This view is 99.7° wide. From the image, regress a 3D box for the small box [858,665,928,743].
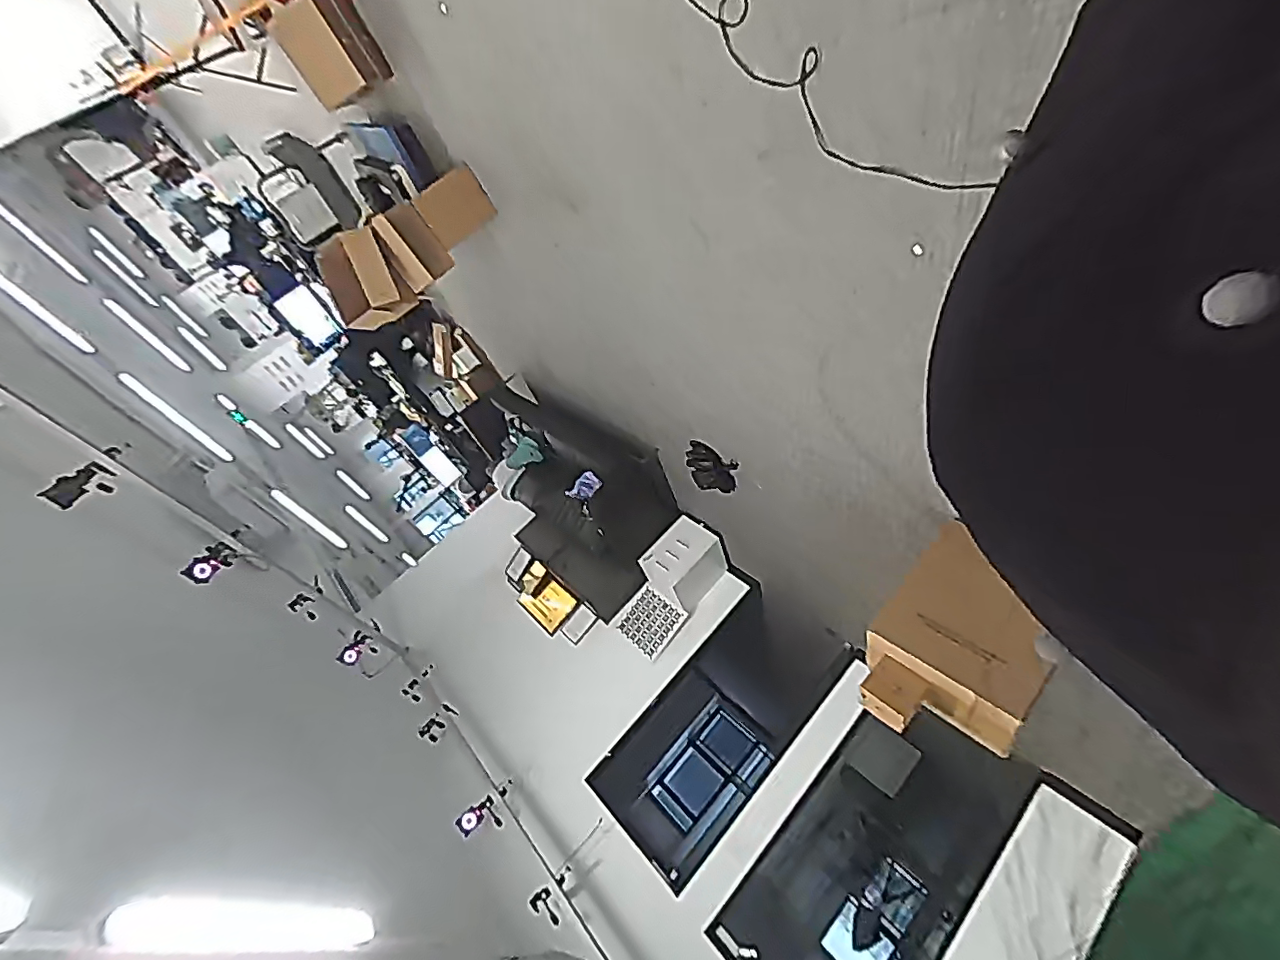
[{"bbox_3d":[0.941,0.828,2.011,0.179,0.176,0.168,31,151,39],"label":"small box"}]
